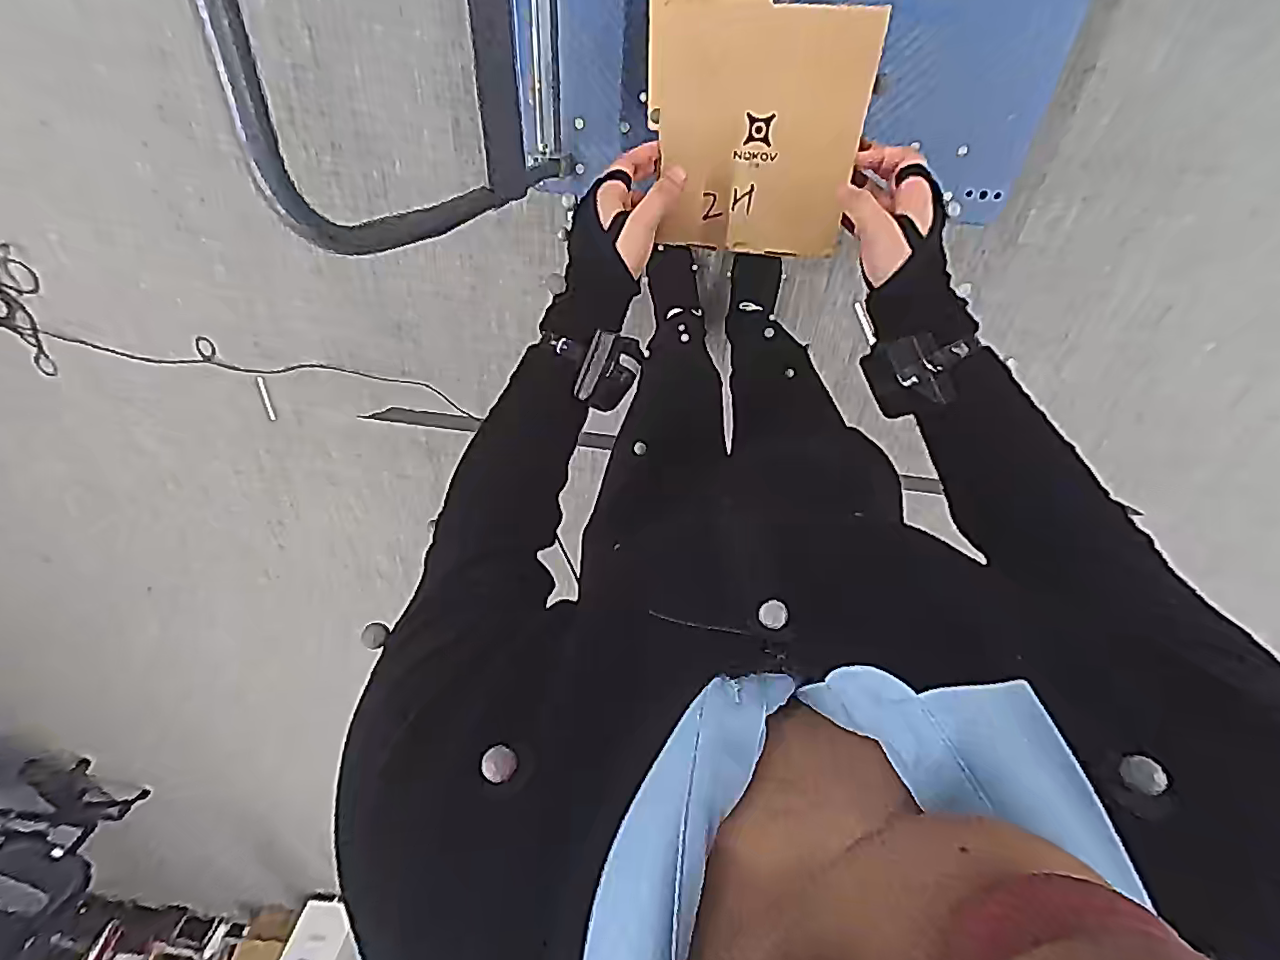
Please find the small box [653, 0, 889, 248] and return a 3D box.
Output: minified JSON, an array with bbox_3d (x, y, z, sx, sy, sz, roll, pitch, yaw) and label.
[{"bbox_3d":[0.112,-0.338,0.509,0.168,0.176,0.179,9,128,8],"label":"small box"}]
